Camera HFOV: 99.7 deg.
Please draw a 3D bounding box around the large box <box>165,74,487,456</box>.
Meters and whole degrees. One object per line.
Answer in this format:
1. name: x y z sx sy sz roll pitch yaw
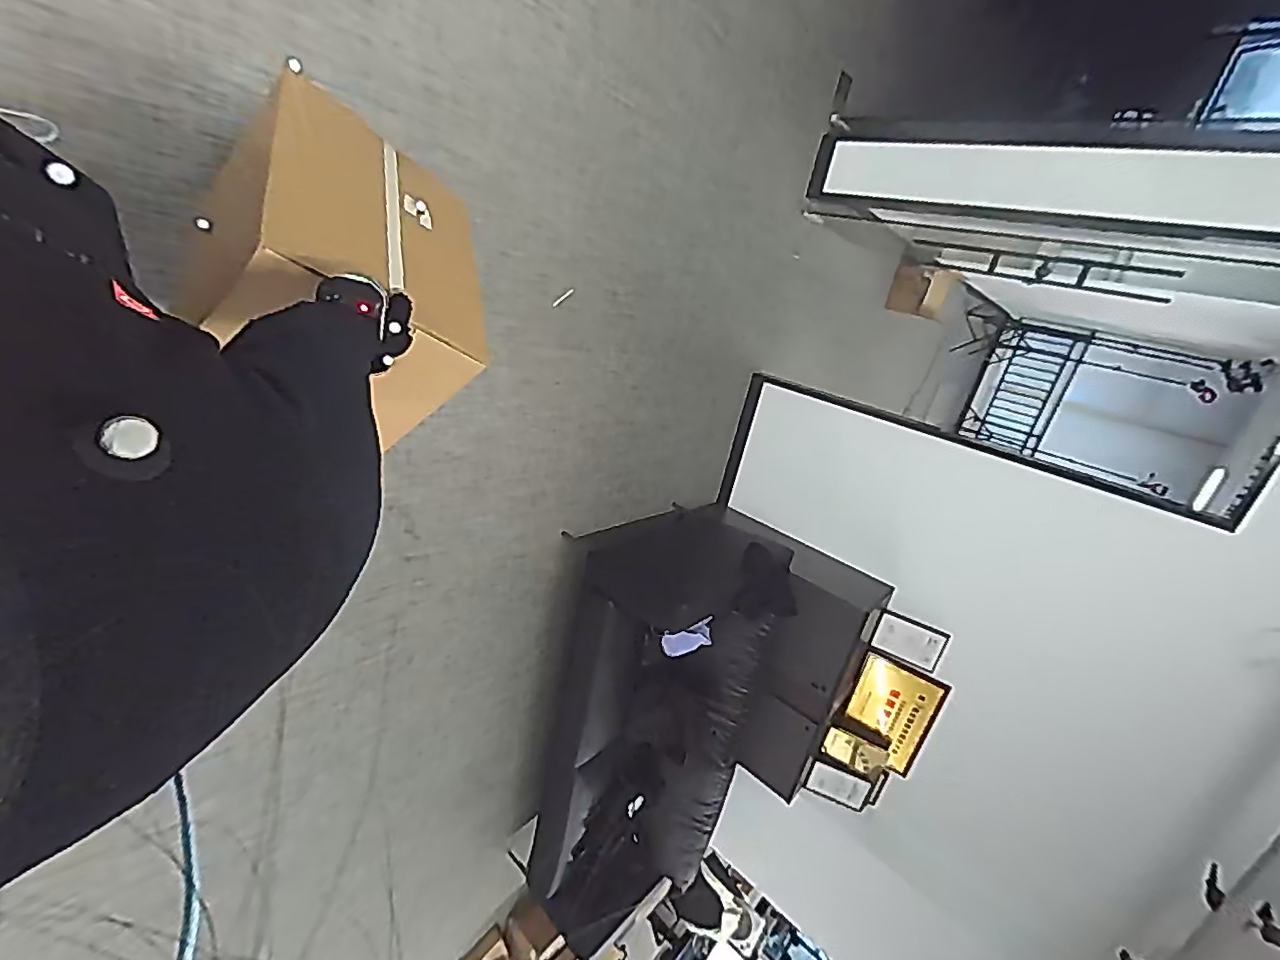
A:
1. large box: -0.488 -0.307 0.863 0.320 0.408 0.320 -31 149 24
